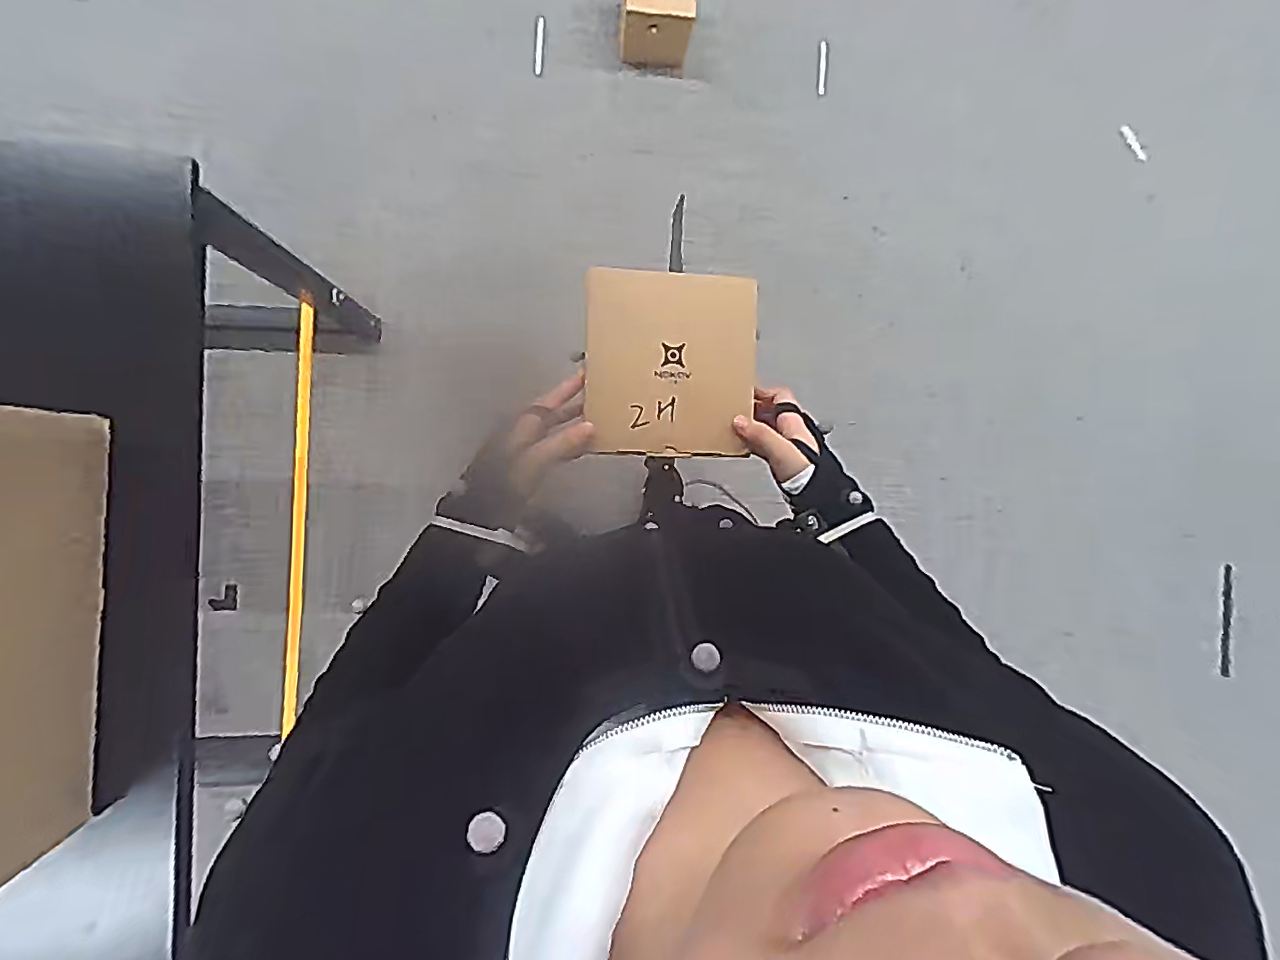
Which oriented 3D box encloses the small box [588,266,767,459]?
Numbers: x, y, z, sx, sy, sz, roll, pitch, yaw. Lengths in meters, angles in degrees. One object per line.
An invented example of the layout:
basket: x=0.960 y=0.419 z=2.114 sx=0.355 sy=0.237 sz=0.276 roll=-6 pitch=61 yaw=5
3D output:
small box: x=0.029 y=-0.112 z=0.588 sx=0.168 sy=0.176 sz=0.179 roll=1 pitch=93 yaw=-6

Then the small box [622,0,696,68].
small box: x=0.044 y=-1.219 z=1.410 sx=0.179 sy=0.176 sz=0.168 roll=-1 pitch=91 yaw=-7
